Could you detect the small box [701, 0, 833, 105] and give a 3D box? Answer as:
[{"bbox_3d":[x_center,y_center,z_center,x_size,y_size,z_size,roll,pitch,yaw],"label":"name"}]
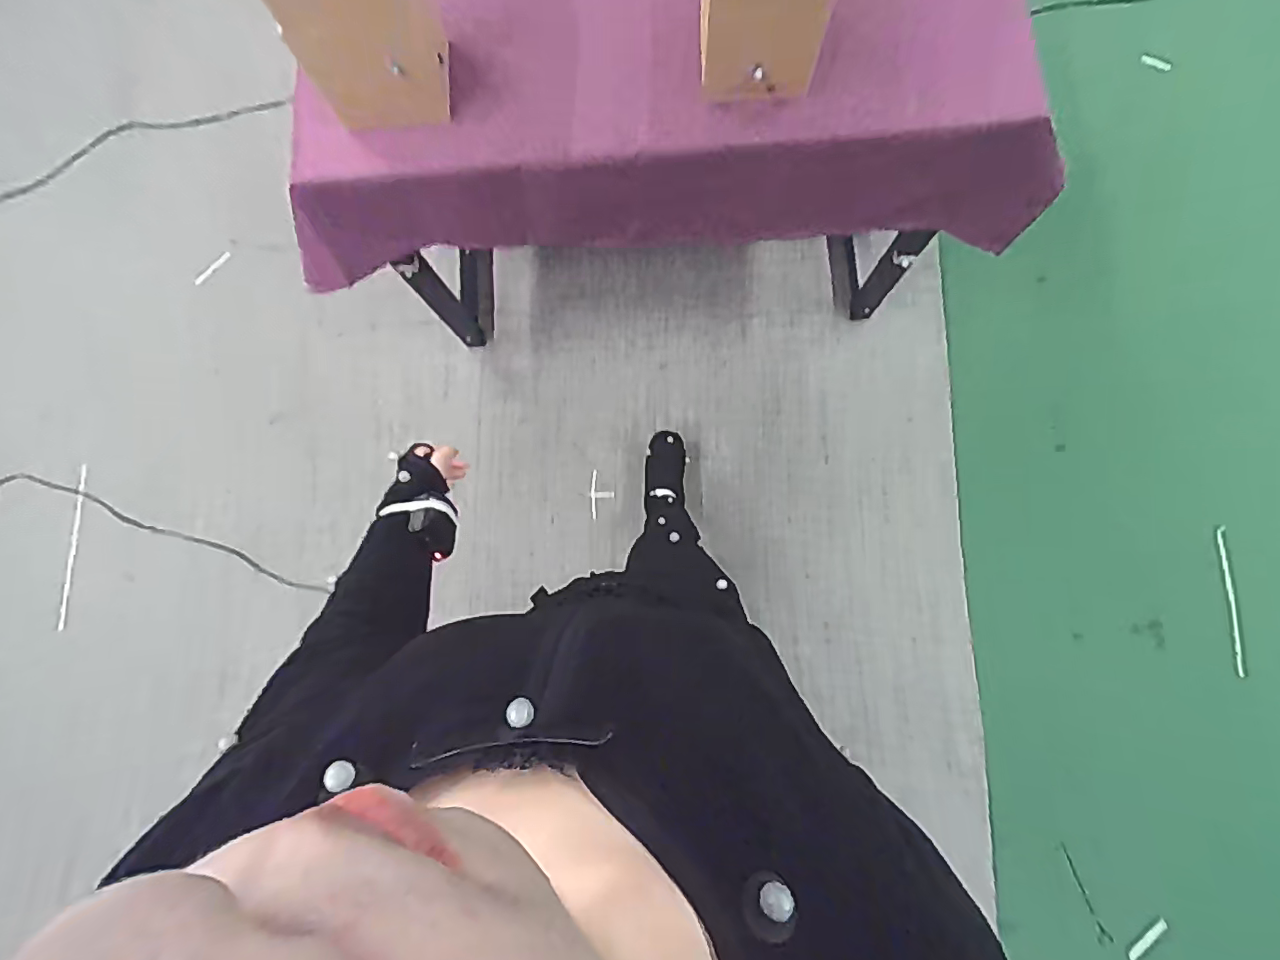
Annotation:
[{"bbox_3d":[0.176,-0.697,0.796,0.168,0.176,0.179,0,81,4],"label":"small box"}]
